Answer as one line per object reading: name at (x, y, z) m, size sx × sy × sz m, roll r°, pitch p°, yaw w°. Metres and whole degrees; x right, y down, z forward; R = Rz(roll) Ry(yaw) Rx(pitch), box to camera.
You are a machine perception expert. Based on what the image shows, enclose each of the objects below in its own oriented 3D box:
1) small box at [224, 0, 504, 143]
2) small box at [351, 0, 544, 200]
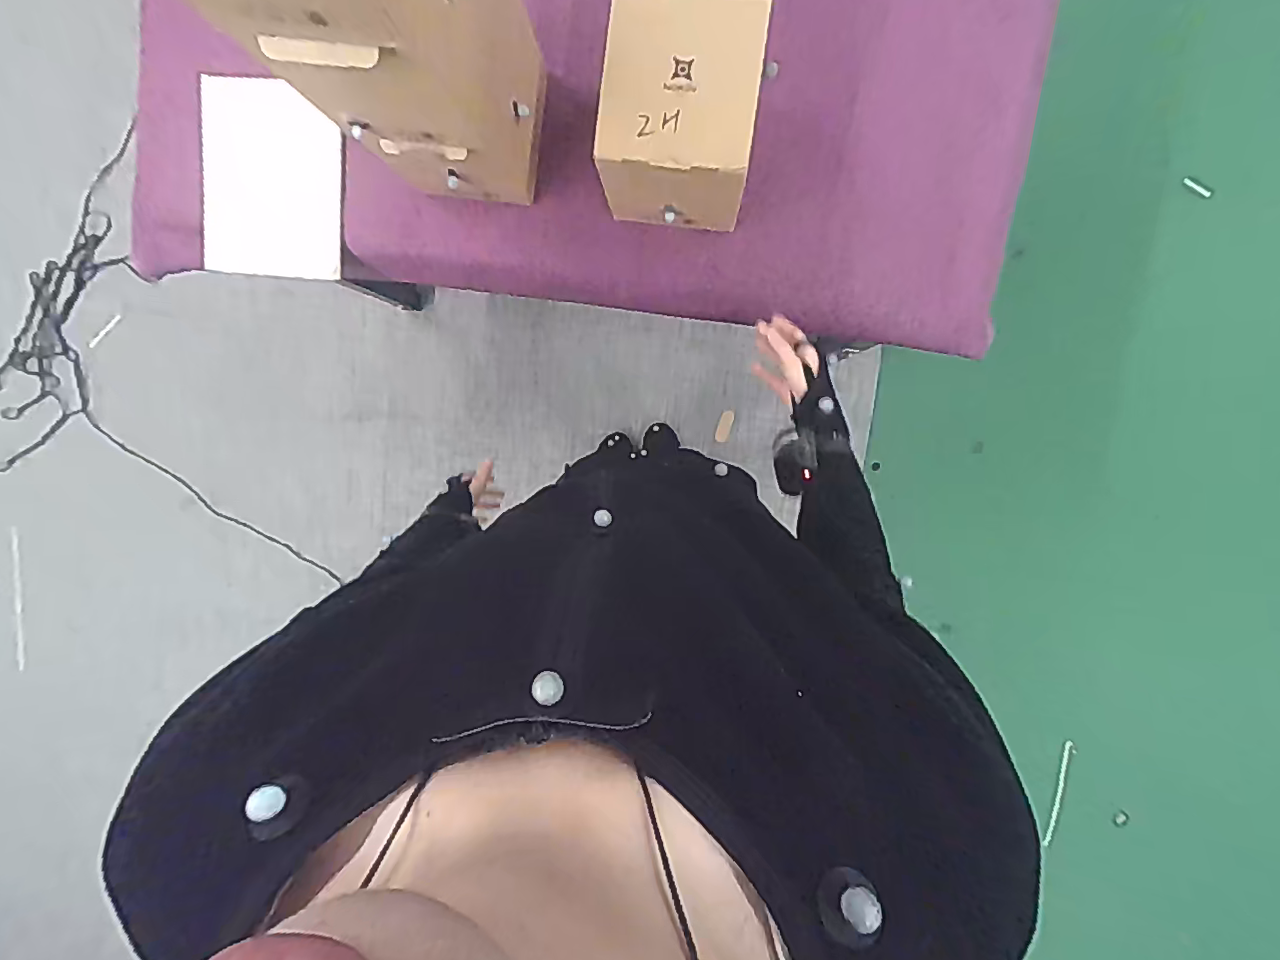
small box at (-0.236, -0.447, 0.501) m, size 0.168 × 0.176 × 0.179 m, roll 9°, pitch 95°, yaw 3°
small box at (-0.223, -0.469, 0.664) m, size 0.168 × 0.176 × 0.179 m, roll 8°, pitch 97°, yaw 3°
